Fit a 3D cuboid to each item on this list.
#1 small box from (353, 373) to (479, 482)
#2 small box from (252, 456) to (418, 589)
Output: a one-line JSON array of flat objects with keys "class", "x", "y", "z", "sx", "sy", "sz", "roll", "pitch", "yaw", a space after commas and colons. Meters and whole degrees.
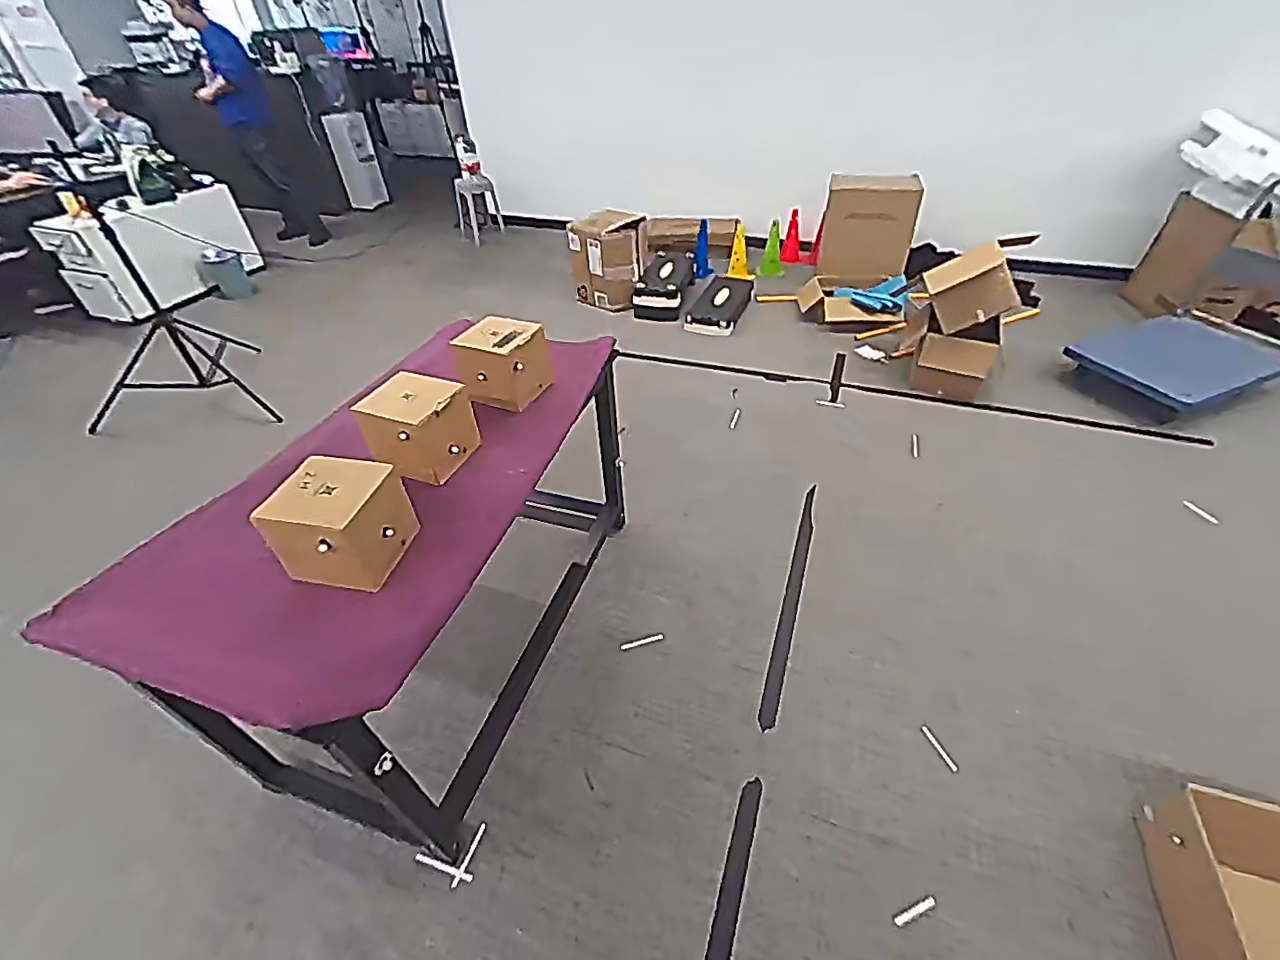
[{"class": "small box", "x": -0.490, "y": -0.117, "z": 1.207, "sx": 0.179, "sy": 0.176, "sz": 0.168, "roll": 13, "pitch": 44, "yaw": 16}, {"class": "small box", "x": -0.538, "y": 0.079, "z": 0.987, "sx": 0.179, "sy": 0.176, "sz": 0.168, "roll": 6, "pitch": 42, "yaw": 10}]
